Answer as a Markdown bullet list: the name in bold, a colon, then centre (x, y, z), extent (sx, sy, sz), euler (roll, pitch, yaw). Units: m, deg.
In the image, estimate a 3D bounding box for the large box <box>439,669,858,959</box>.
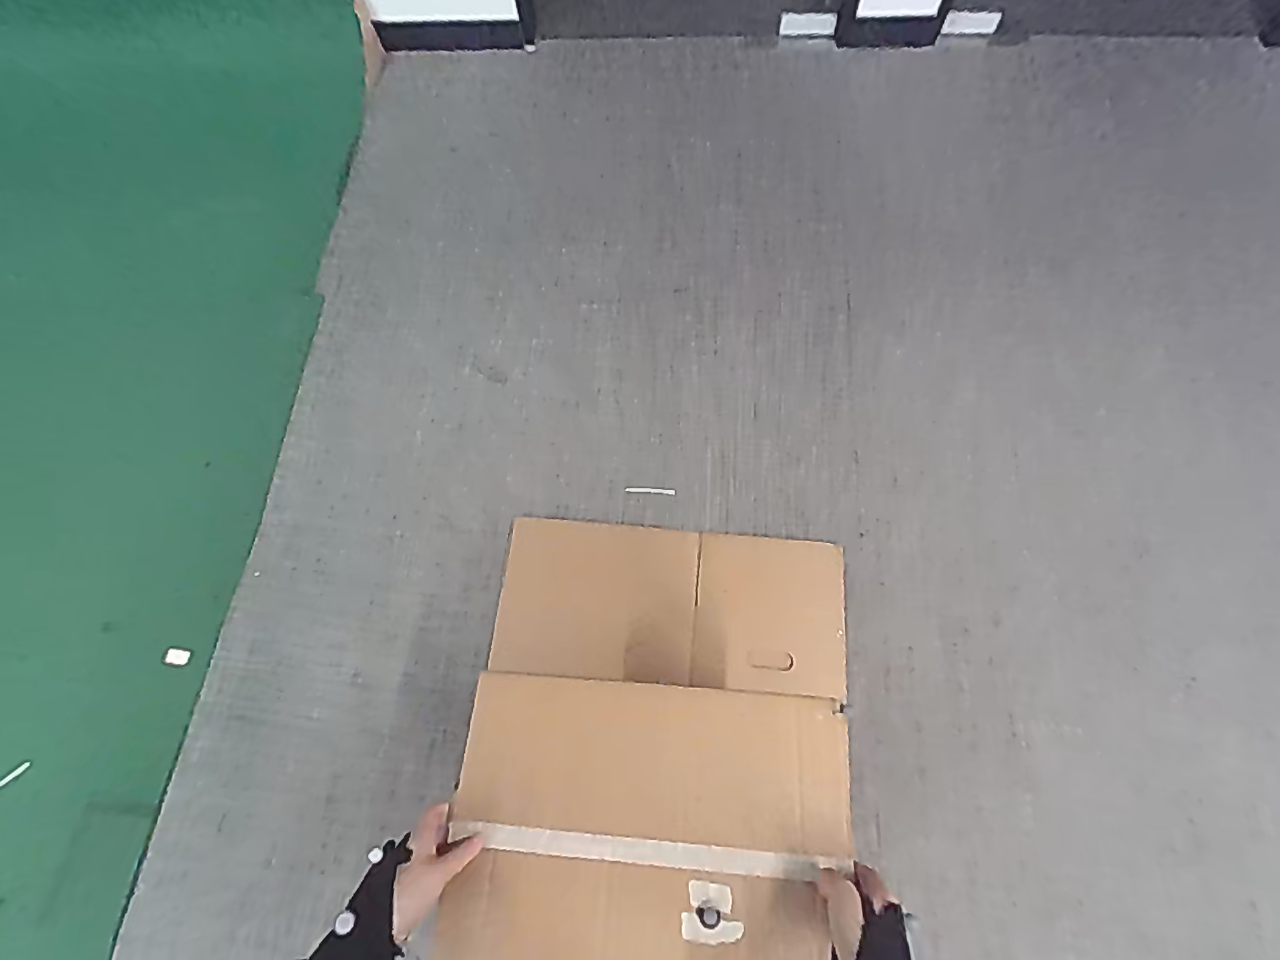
- **large box**: centre (0.016, 0.427, 0.684), extent (0.408, 0.320, 0.320), euler (3, 66, 4)
